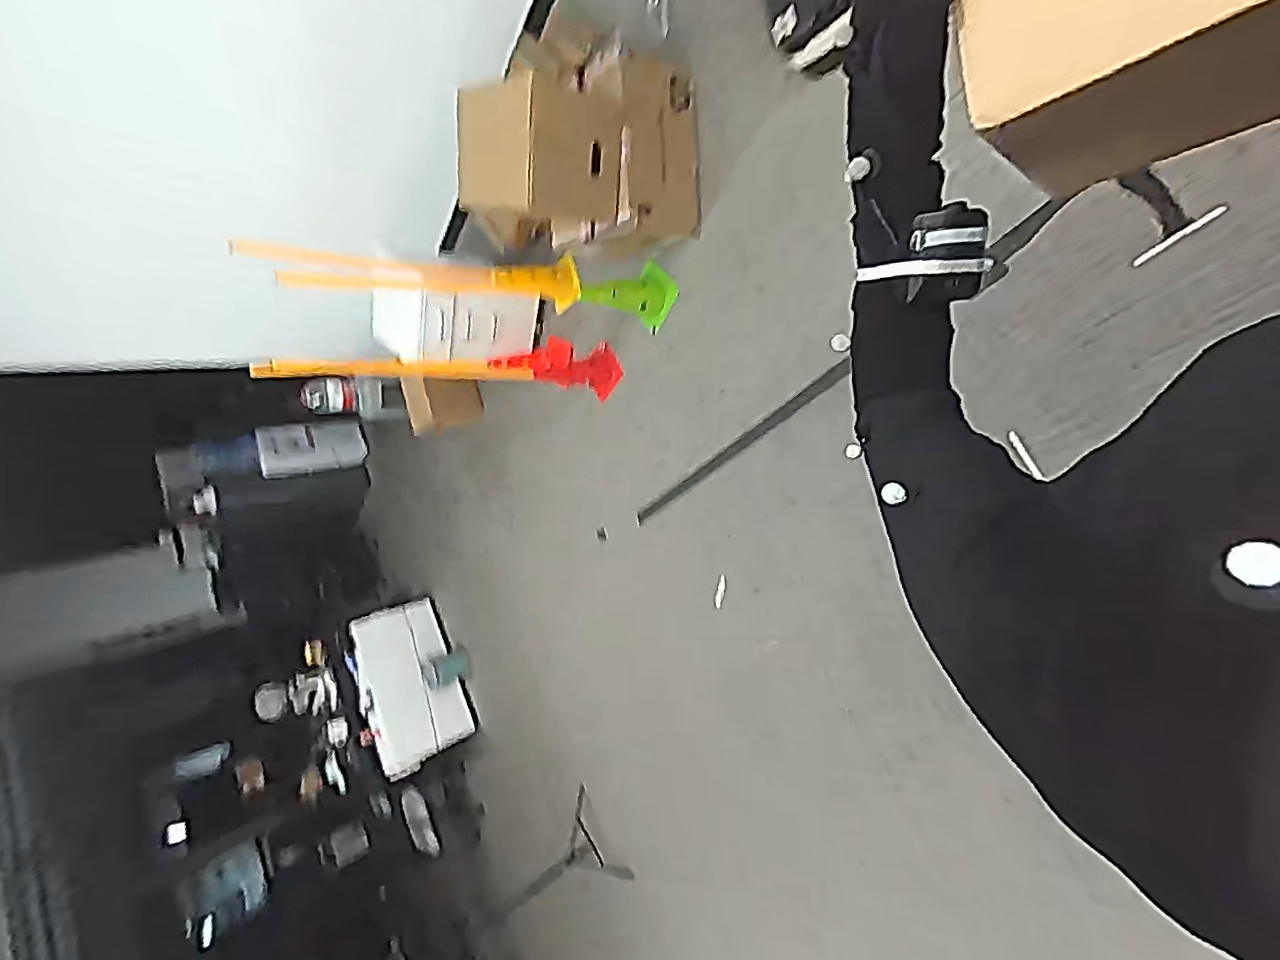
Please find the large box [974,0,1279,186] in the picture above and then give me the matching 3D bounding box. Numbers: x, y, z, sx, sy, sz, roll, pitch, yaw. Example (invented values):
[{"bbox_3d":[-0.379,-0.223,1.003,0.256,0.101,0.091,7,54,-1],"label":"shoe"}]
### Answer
[{"bbox_3d":[0.429,-0.427,0.294,0.408,0.320,0.320,-6,99,45],"label":"large box"}]
